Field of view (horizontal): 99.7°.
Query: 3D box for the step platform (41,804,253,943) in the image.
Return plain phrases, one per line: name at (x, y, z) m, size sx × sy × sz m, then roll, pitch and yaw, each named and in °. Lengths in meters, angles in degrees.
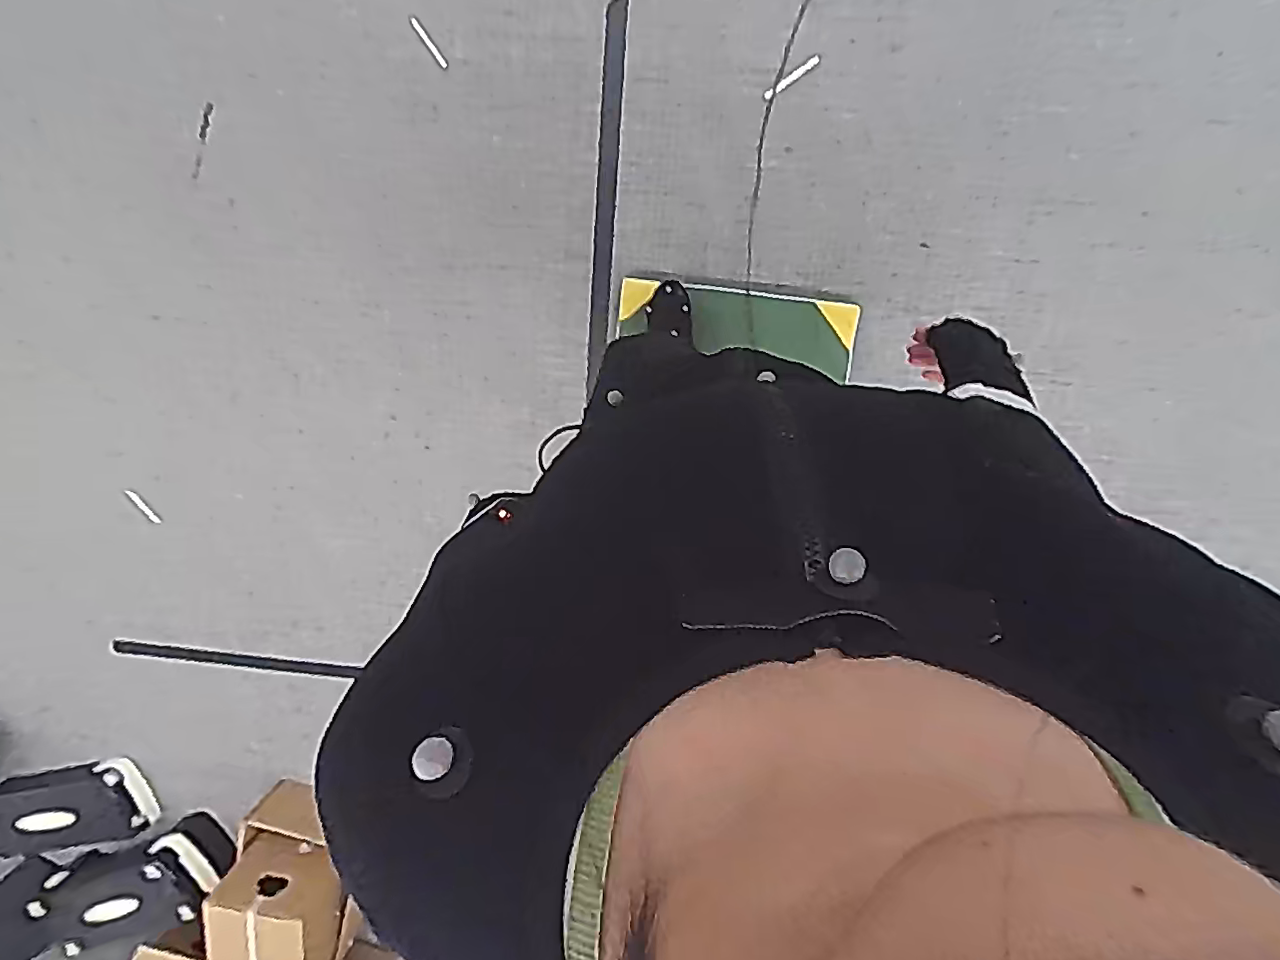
step platform at (-1.836, 1.470, 2.015) m, size 0.684 × 0.204 × 0.286 m, roll -23°, pitch 103°, yaw 10°
